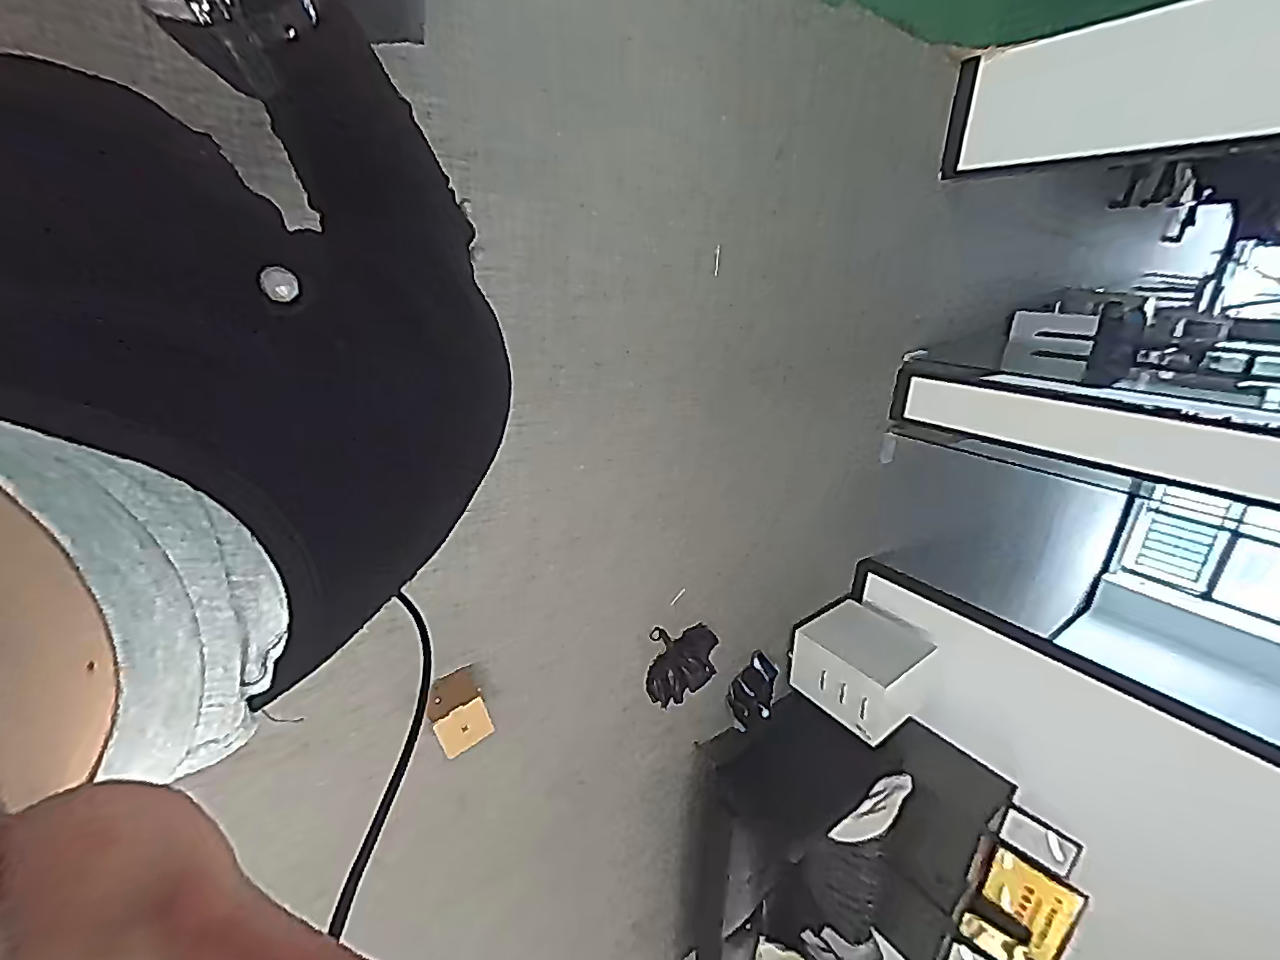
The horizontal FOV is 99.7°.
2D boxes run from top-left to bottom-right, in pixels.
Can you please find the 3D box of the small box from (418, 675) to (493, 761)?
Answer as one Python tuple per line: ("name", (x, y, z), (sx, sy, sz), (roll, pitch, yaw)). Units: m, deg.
("small box", (-0.621, 0.785, 1.813), (0.168, 0.176, 0.179), (-26, 124, -26))
